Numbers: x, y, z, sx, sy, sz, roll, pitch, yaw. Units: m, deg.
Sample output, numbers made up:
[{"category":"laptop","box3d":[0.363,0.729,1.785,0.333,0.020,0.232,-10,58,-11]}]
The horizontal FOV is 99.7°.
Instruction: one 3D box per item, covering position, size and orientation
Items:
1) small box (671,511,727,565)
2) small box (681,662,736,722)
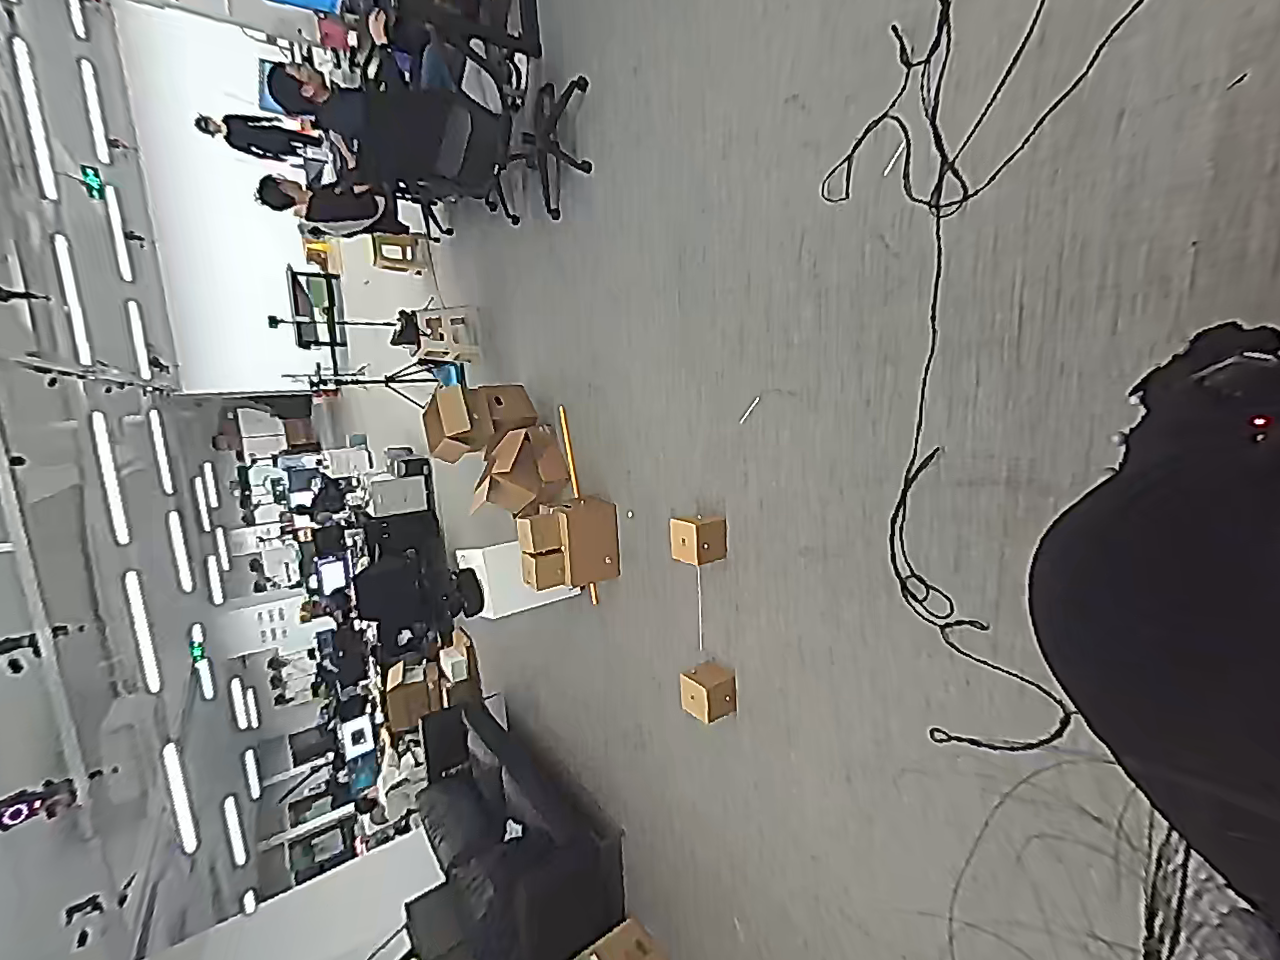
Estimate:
[{"category":"small box","box3d":[0.246,0.235,2.252,0.168,0.176,0.179,9,106,53]},{"category":"small box","box3d":[0.299,0.912,2.348,0.179,0.176,0.168,9,106,54]}]
